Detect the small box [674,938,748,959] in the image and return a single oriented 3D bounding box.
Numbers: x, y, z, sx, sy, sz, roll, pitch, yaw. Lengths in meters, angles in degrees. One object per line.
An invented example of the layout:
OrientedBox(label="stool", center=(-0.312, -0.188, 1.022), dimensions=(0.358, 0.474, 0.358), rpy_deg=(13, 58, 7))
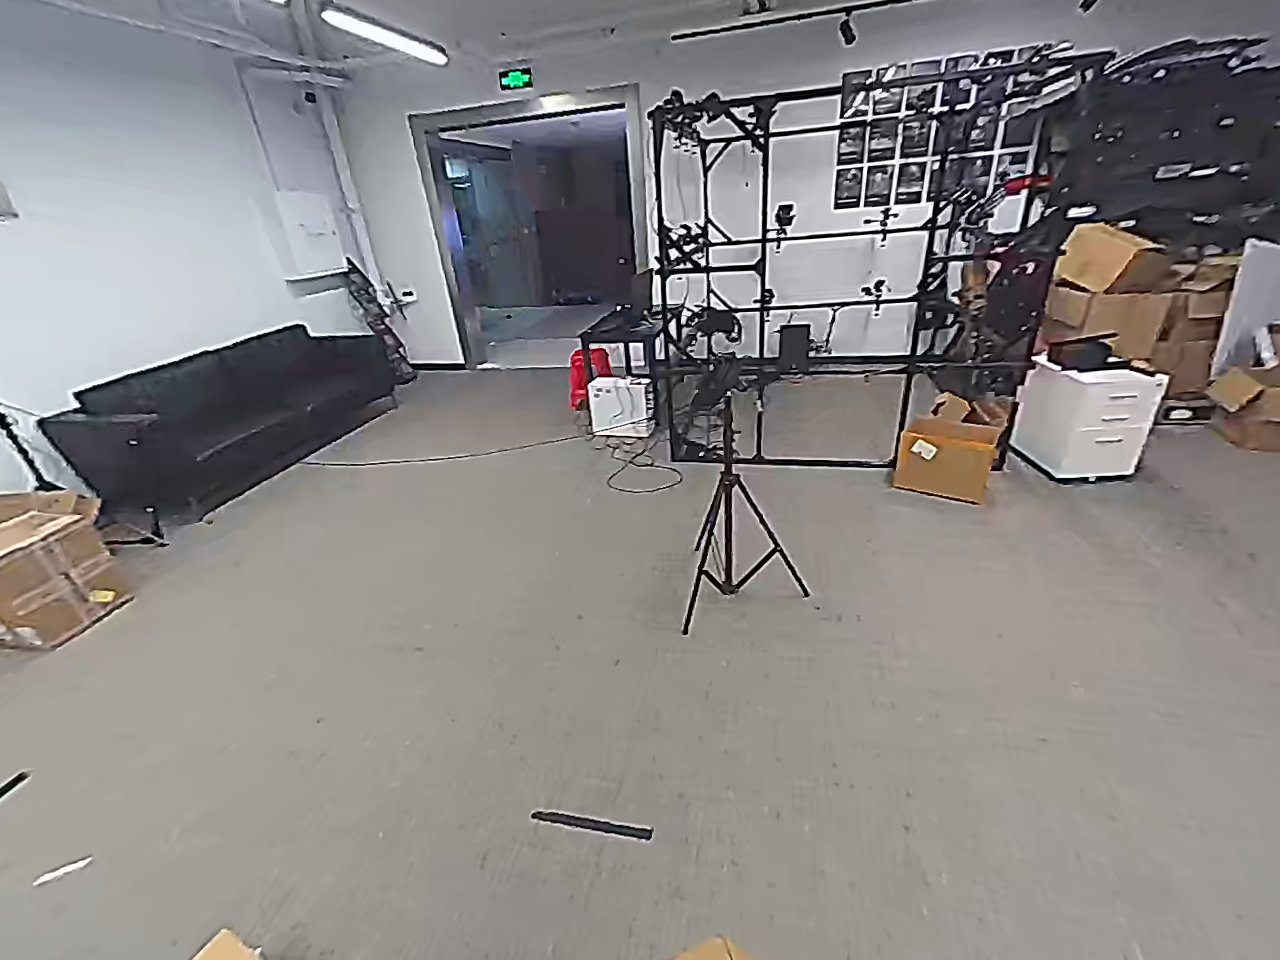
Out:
OrientedBox(label="small box", center=(0.049, 0.538, 0.461), dimensions=(0.179, 0.176, 0.168), rpy_deg=(-24, 37, 0))

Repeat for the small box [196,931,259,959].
OrientedBox(label="small box", center=(-0.914, 1.161, 1.186), dimensions=(0.179, 0.176, 0.168), rpy_deg=(8, 28, 26))
